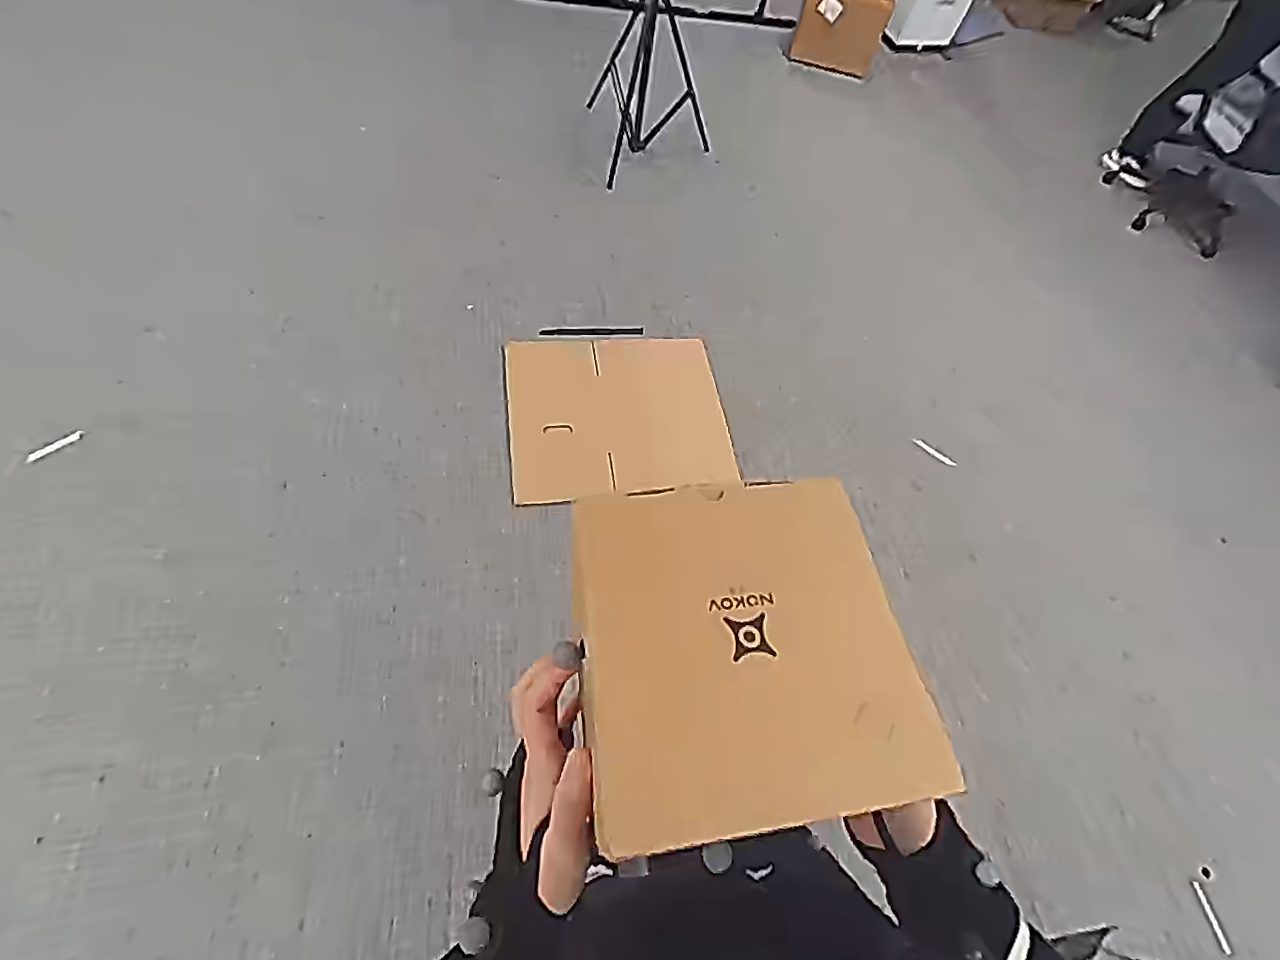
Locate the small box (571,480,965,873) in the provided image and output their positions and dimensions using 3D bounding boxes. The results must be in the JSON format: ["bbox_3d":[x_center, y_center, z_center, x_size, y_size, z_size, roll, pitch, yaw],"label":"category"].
[{"bbox_3d":[0.048,0.123,0.340,0.168,0.176,0.179,-5,56,-10],"label":"small box"}]
